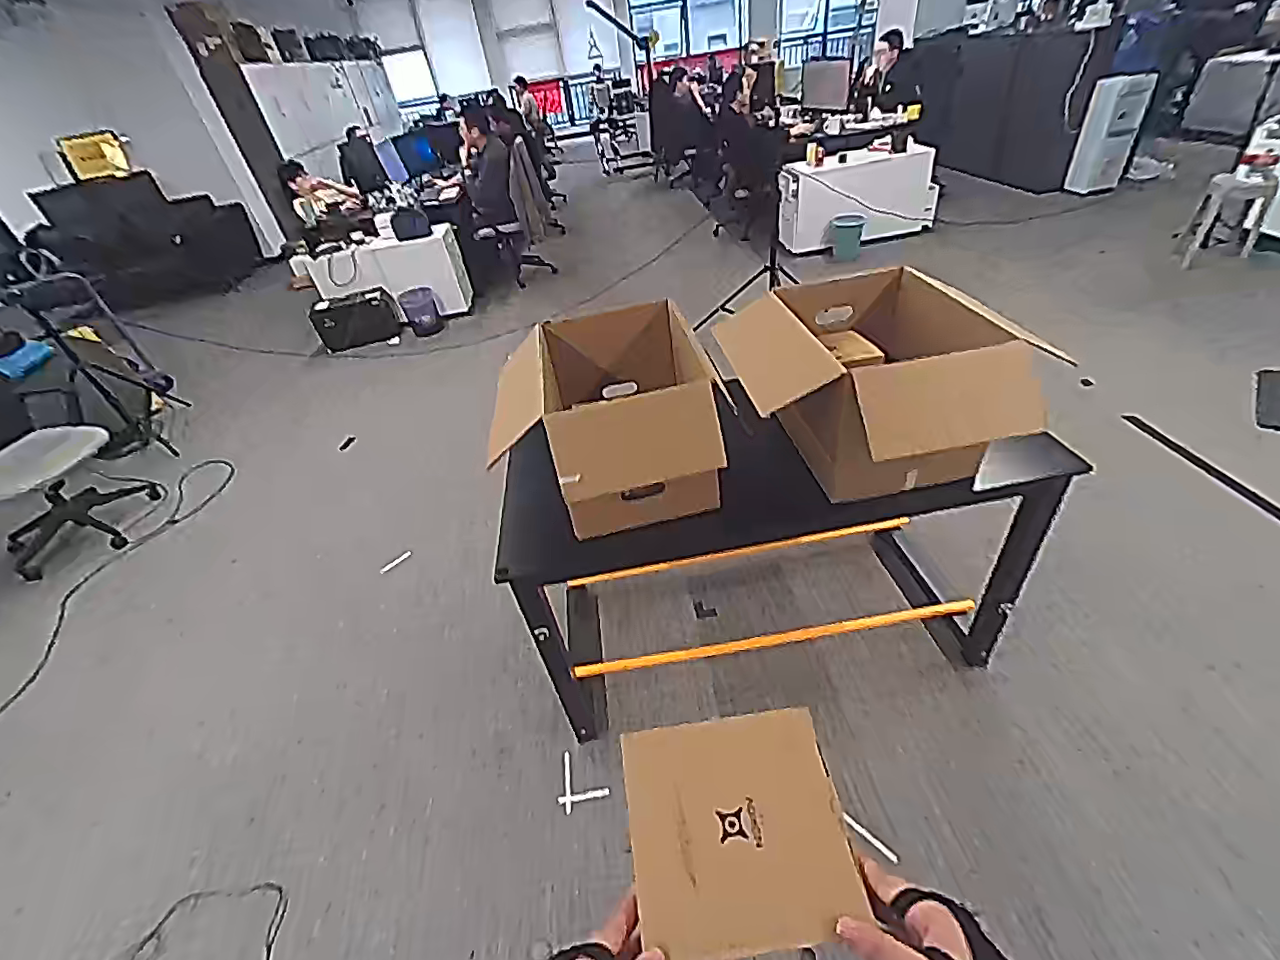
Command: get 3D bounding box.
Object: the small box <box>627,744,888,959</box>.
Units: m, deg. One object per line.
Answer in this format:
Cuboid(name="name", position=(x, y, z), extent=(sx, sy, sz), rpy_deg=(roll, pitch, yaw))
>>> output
Cuboid(name="small box", position=(0.088, 0.360, 0.489), extent=(0.179, 0.176, 0.168), rpy_deg=(-9, 49, -2))
